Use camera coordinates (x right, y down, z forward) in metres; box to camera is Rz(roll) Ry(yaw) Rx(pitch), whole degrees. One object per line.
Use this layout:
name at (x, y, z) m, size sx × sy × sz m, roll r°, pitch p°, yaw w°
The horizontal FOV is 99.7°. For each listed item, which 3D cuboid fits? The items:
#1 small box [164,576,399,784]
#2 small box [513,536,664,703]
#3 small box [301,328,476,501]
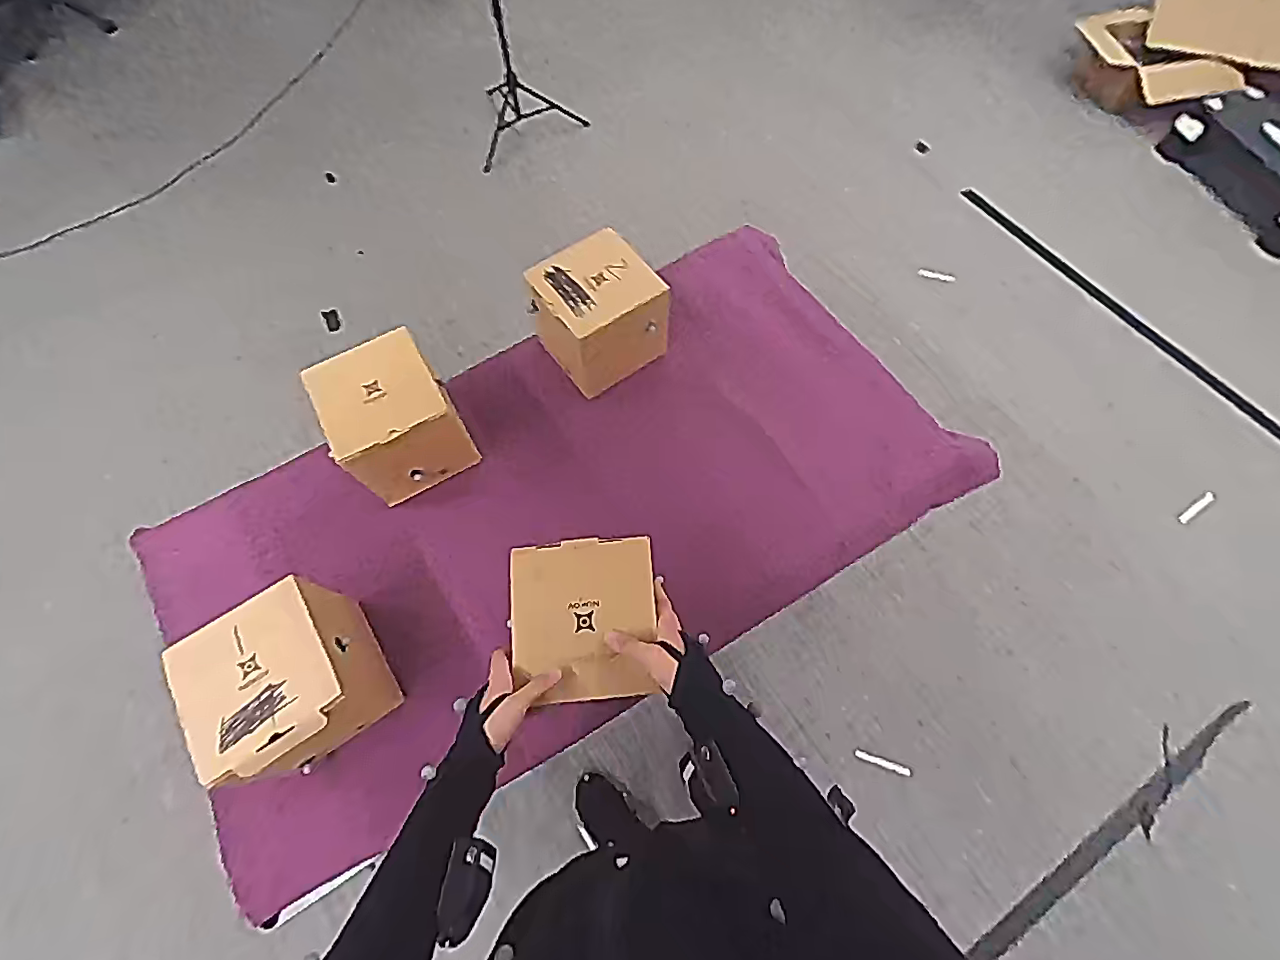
small box at (-0.450, 0.256, 0.704) m, size 0.168 × 0.176 × 0.179 m, roll -33°, pitch 69°, yaw -13°
small box at (-0.061, 0.178, 0.685) m, size 0.168 × 0.176 × 0.179 m, roll -5°, pitch 73°, yaw -1°
small box at (-0.384, -0.097, 0.851) m, size 0.168 × 0.176 × 0.179 m, roll -29°, pitch 70°, yaw -11°
